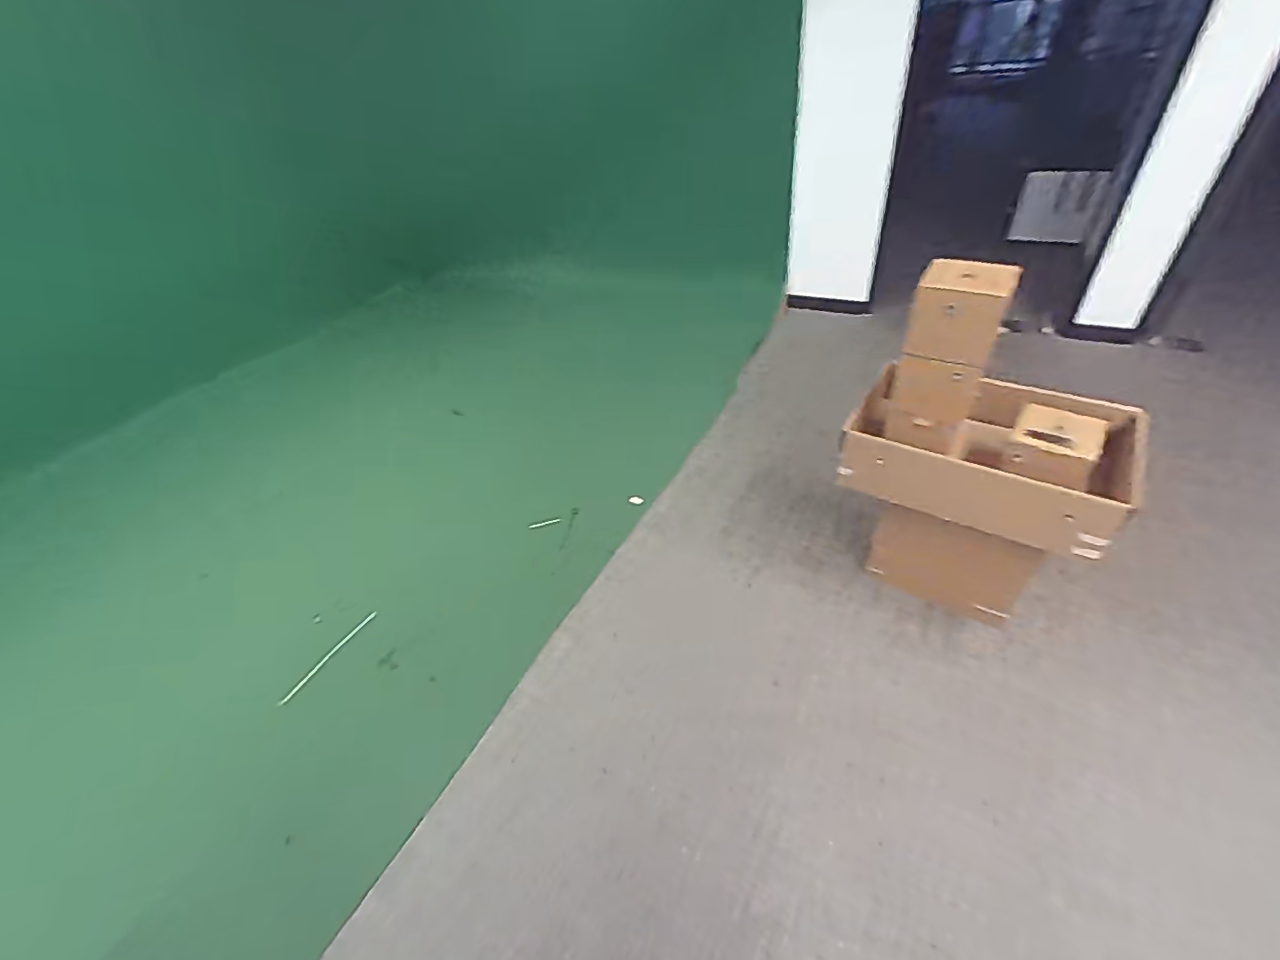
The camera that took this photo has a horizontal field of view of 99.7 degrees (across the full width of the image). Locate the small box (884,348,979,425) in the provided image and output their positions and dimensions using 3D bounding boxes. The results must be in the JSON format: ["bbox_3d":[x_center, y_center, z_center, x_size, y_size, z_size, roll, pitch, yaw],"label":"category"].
[{"bbox_3d":[0.739,-0.262,1.363,0.179,0.176,0.168,21,50,27],"label":"small box"}]

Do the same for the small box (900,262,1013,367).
[{"bbox_3d":[0.723,-0.381,1.250,0.179,0.176,0.168,21,50,27],"label":"small box"}]
